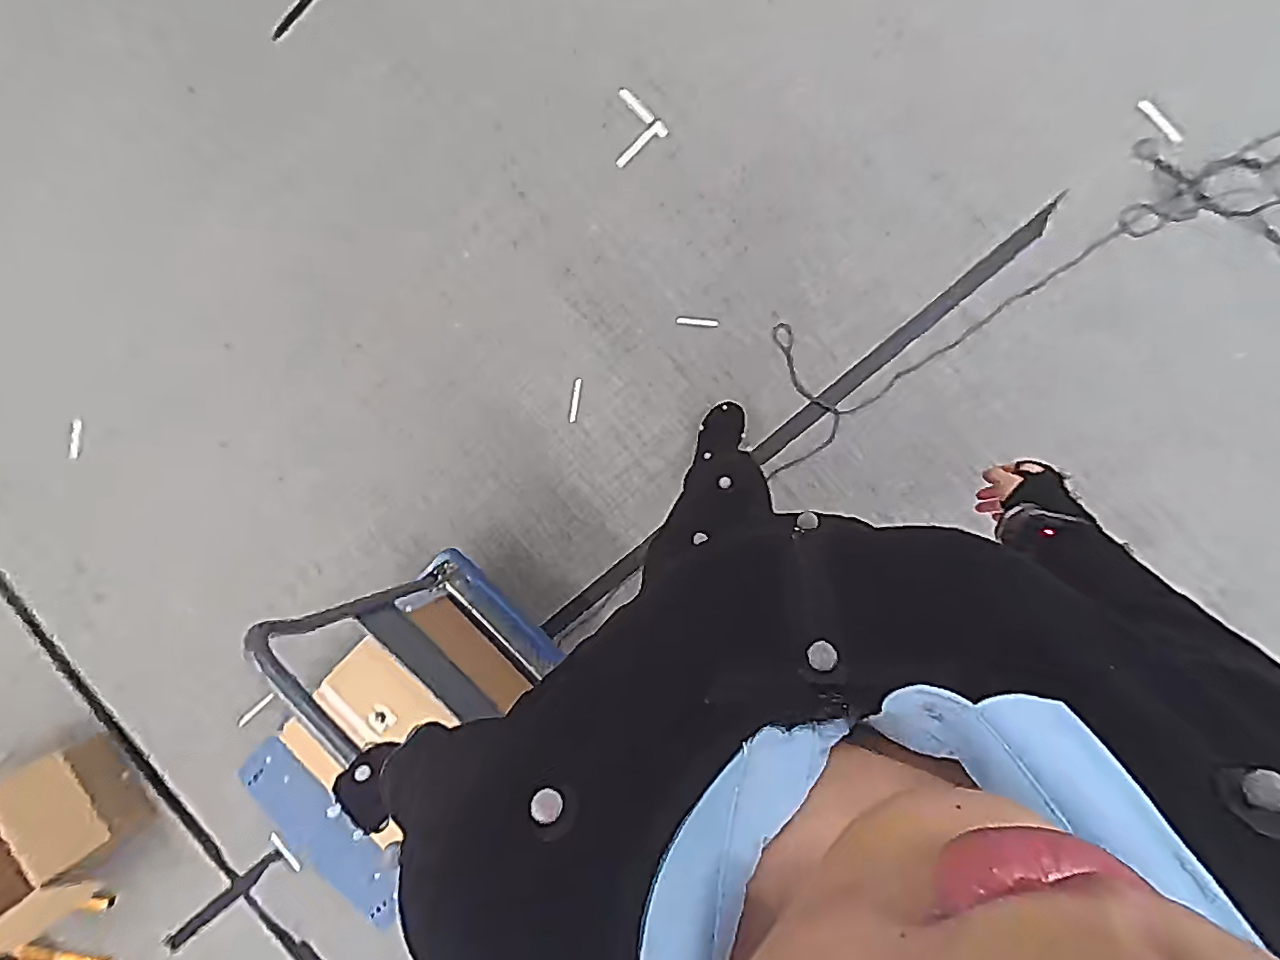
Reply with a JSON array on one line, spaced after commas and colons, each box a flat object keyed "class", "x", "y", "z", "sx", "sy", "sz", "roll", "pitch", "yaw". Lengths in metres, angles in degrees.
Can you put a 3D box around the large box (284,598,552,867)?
[{"class": "large box", "x": -0.479, "y": 0.543, "z": 1.243, "sx": 0.408, "sy": 0.320, "sz": 0.320, "roll": 44, "pitch": 94, "yaw": 5}]
